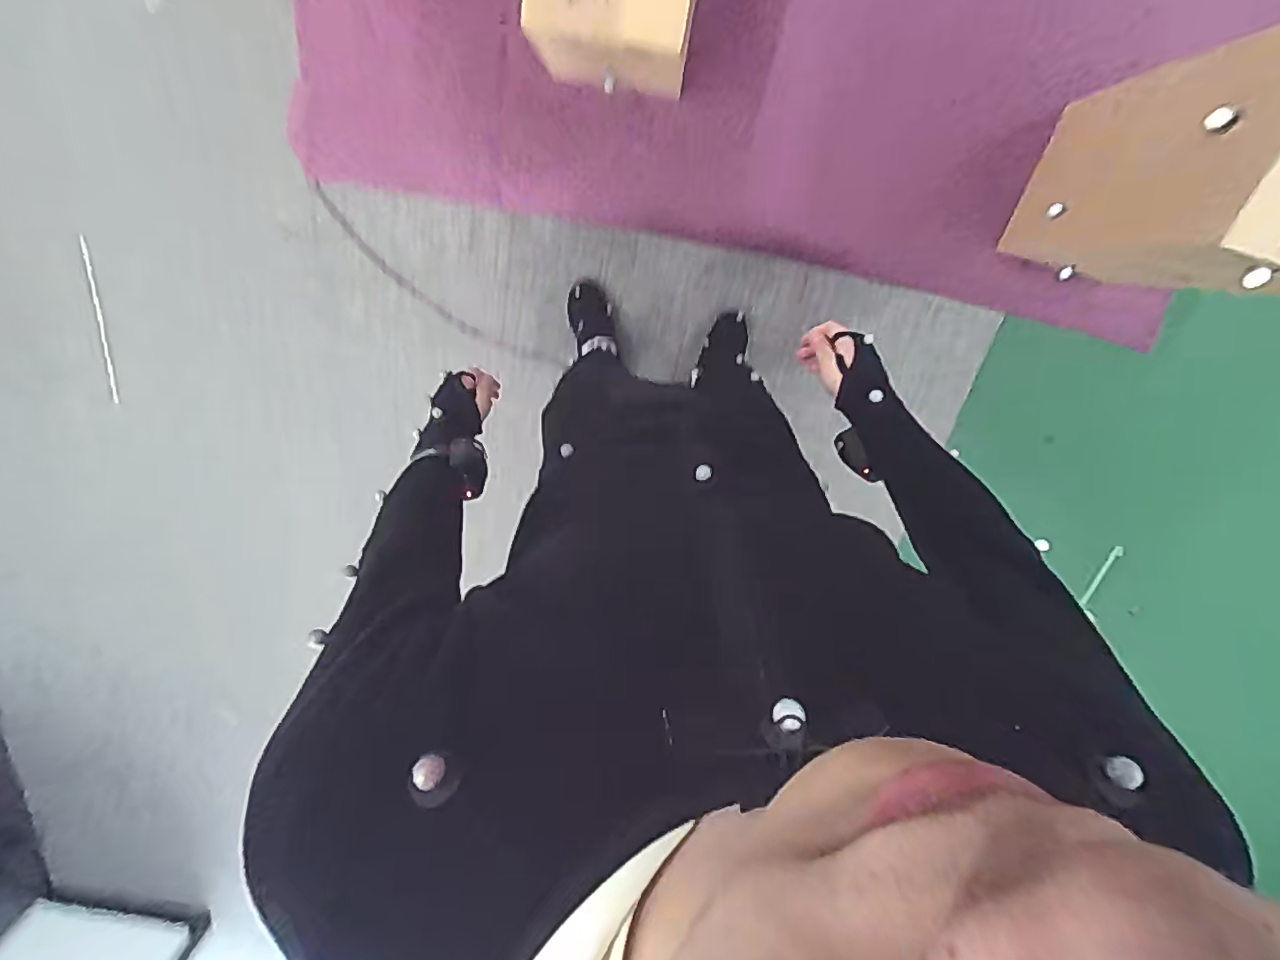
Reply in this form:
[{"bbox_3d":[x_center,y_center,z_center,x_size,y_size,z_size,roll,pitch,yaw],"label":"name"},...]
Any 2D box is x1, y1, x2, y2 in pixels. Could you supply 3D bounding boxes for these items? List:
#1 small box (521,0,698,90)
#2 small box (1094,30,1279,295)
[{"bbox_3d":[-0.019,-0.554,0.577,0.168,0.176,0.179,11,114,0],"label":"small box"},{"bbox_3d":[0.567,-0.273,0.475,0.168,0.176,0.179,16,112,-2],"label":"small box"}]
